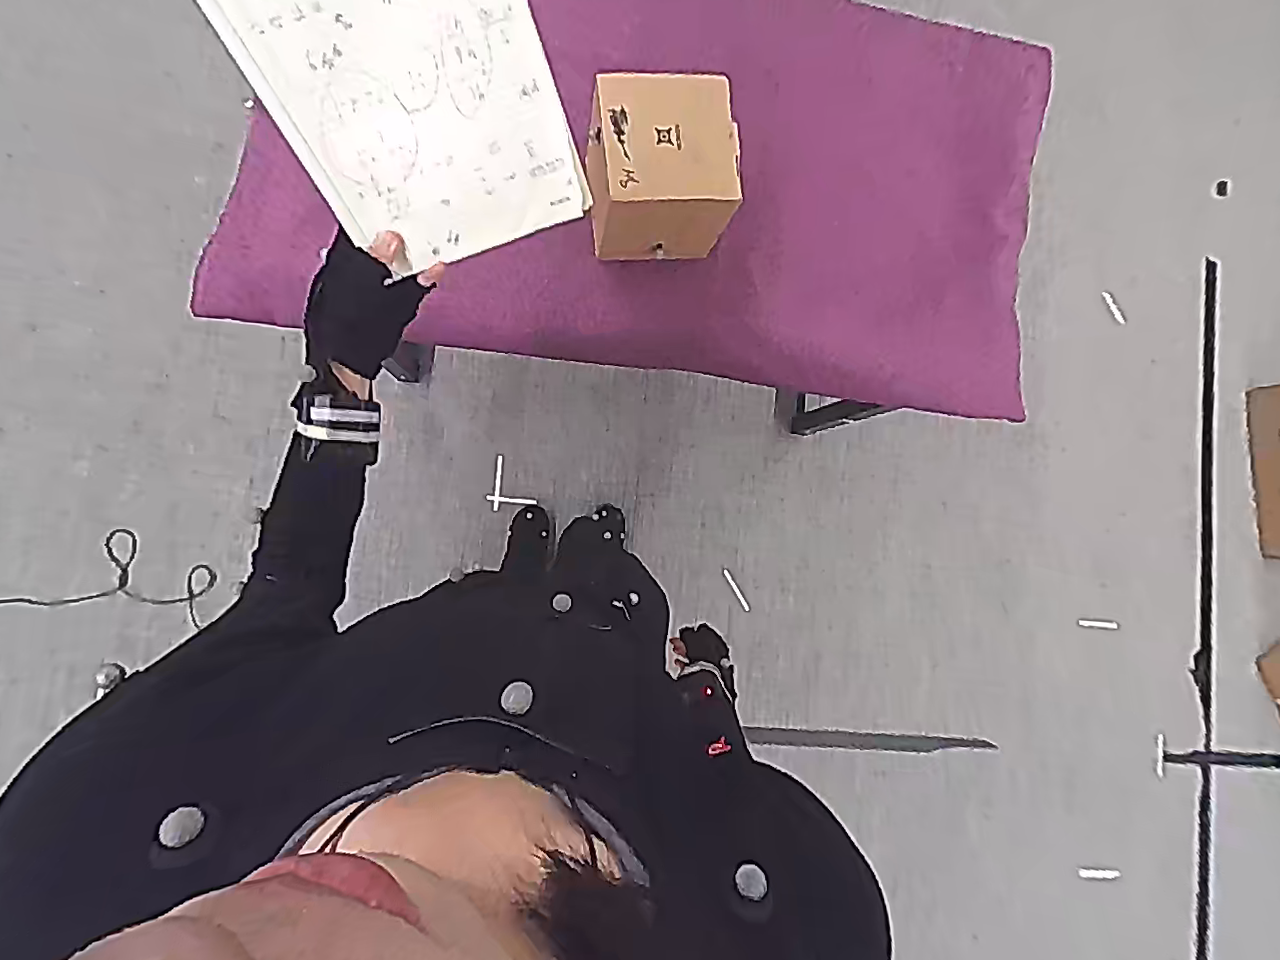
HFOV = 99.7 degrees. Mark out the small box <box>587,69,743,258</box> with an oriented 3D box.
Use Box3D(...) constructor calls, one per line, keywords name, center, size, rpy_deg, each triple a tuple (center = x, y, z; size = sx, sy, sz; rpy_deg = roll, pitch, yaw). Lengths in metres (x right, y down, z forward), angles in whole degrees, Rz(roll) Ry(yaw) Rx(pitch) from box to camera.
Box3D(name="small box", center=(0.026, -0.429, 0.759), size=(0.179, 0.176, 0.168), rpy_deg=(-5, 87, -11))
